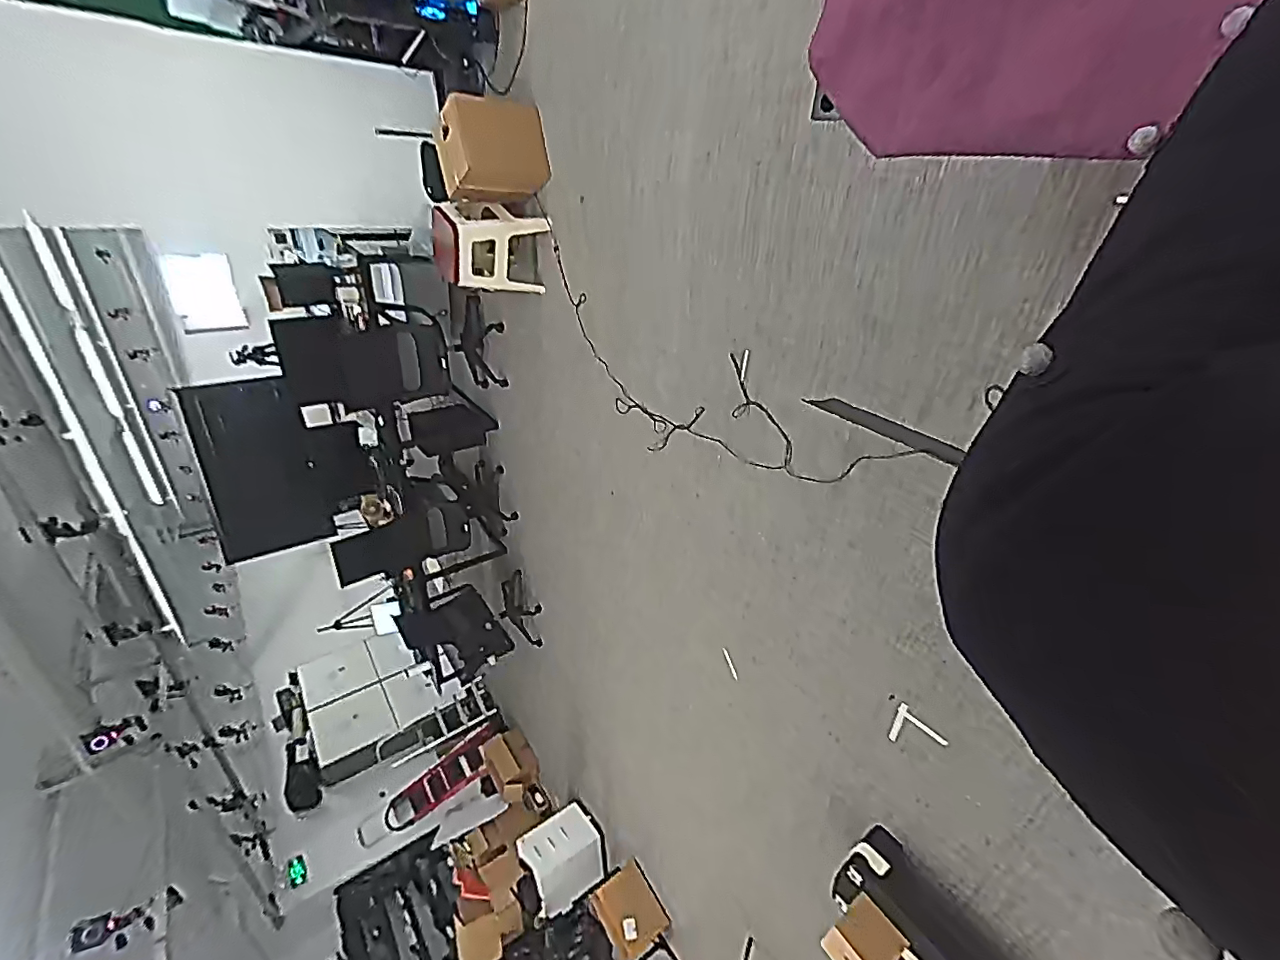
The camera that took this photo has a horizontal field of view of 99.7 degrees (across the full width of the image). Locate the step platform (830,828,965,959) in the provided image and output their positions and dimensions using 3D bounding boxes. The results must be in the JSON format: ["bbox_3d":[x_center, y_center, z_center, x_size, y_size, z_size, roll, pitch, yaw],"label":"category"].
[{"bbox_3d":[0.960,1.533,1.756,0.684,0.204,0.286,35,133,42],"label":"step platform"}]
